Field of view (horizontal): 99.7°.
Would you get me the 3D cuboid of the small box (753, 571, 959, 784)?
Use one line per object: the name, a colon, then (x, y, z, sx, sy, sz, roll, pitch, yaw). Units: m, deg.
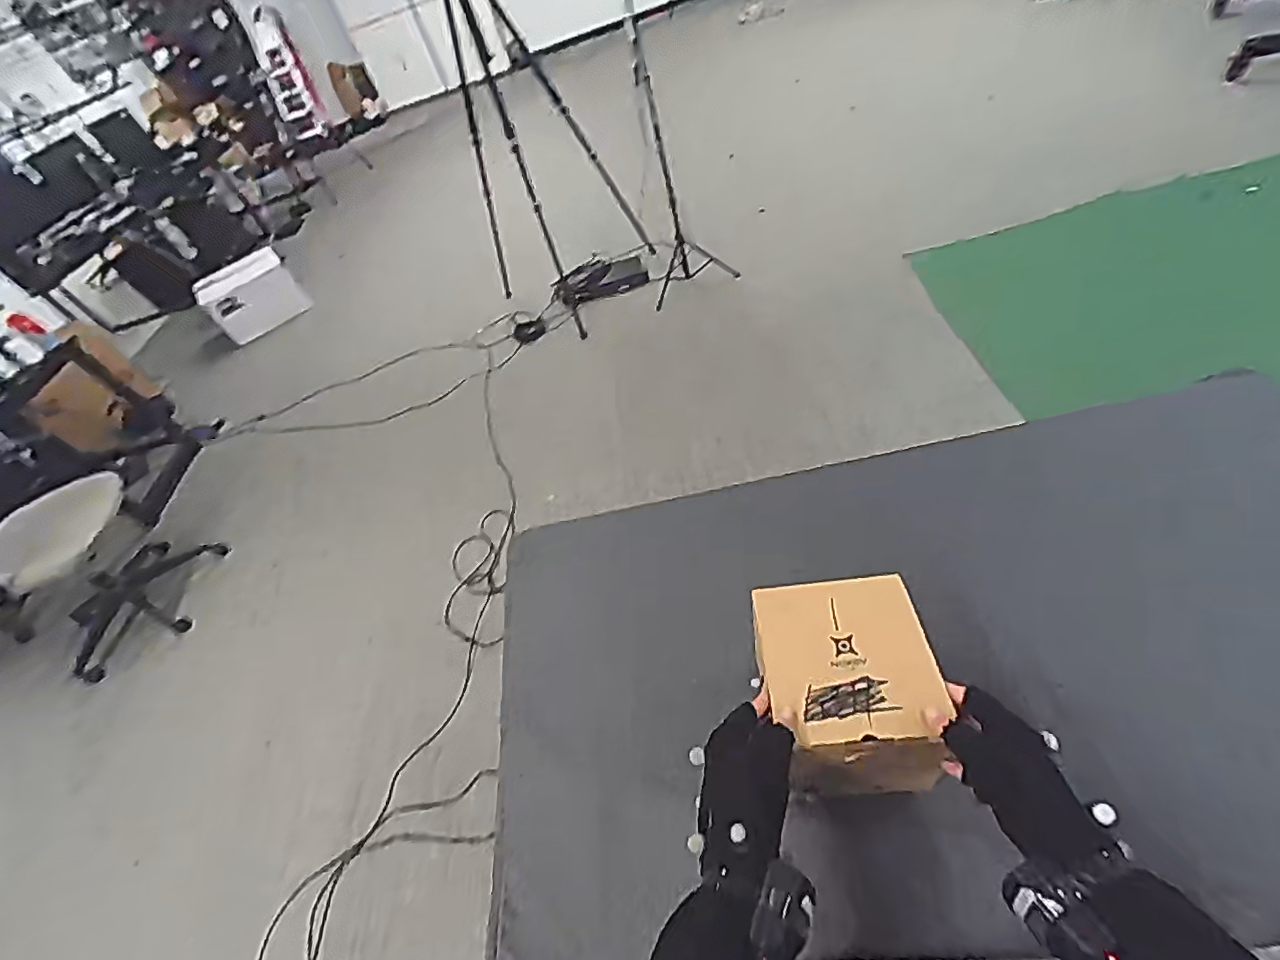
small box: (0.224, 0.227, 0.607, 0.168, 0.176, 0.179, -7, 45, 8)
